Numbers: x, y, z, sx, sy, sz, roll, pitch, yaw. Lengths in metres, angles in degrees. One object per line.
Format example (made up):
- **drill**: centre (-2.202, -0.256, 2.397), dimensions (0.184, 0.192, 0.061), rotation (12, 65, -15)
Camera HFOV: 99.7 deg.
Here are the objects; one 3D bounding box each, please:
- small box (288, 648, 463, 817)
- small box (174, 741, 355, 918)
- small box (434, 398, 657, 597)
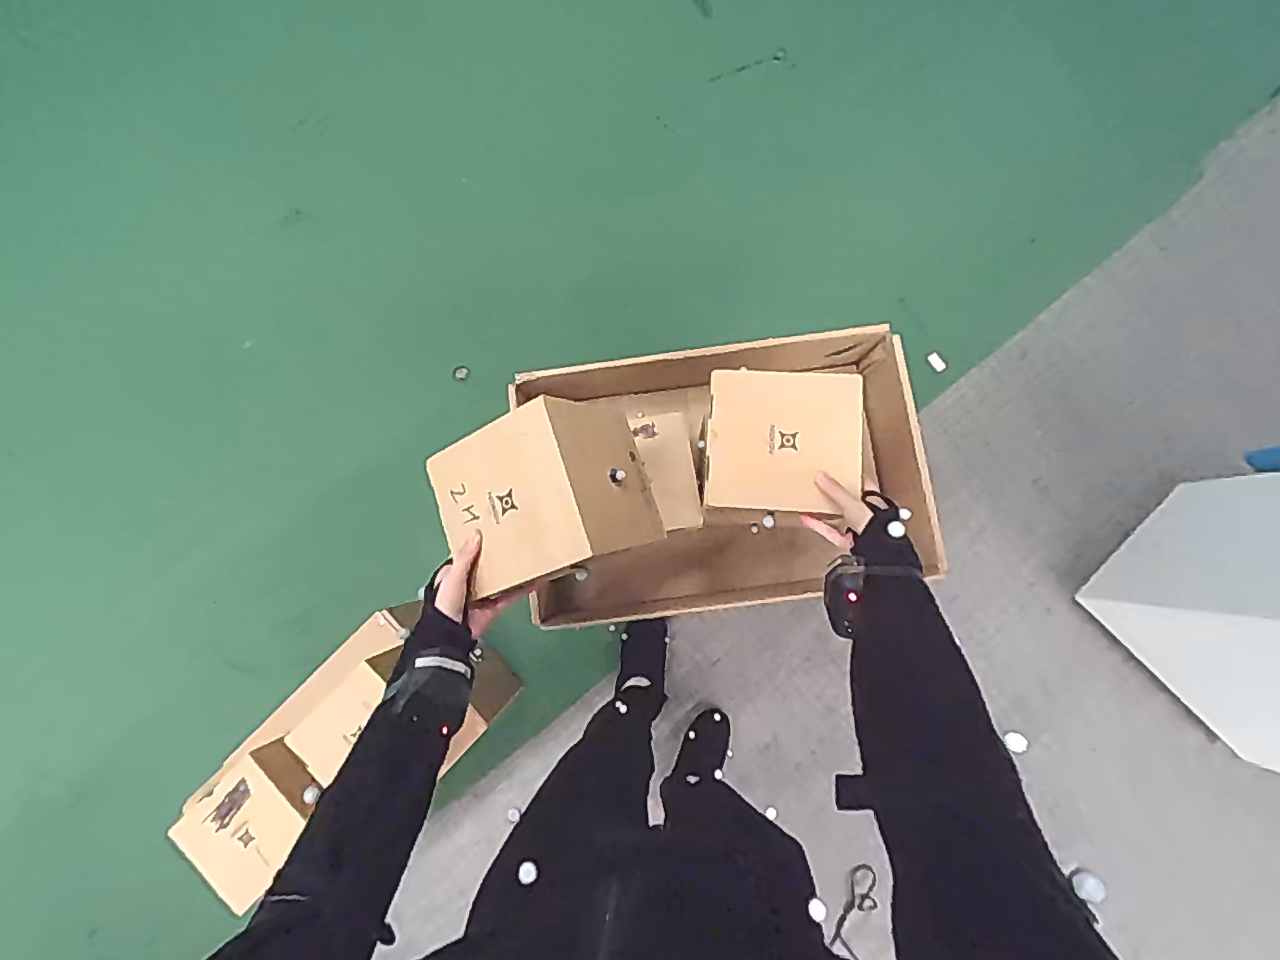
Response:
- **small box**: centre (-0.438, 0.418, 0.928), dimensions (0.168, 0.176, 0.179), rotation (45, 85, 5)
- **small box**: centre (-0.603, 0.559, 0.911), dimensions (0.179, 0.176, 0.168), rotation (44, 85, 6)
- **small box**: centre (-0.097, 0.022, 0.622), dimensions (0.179, 0.176, 0.168), rotation (-22, 79, 26)
